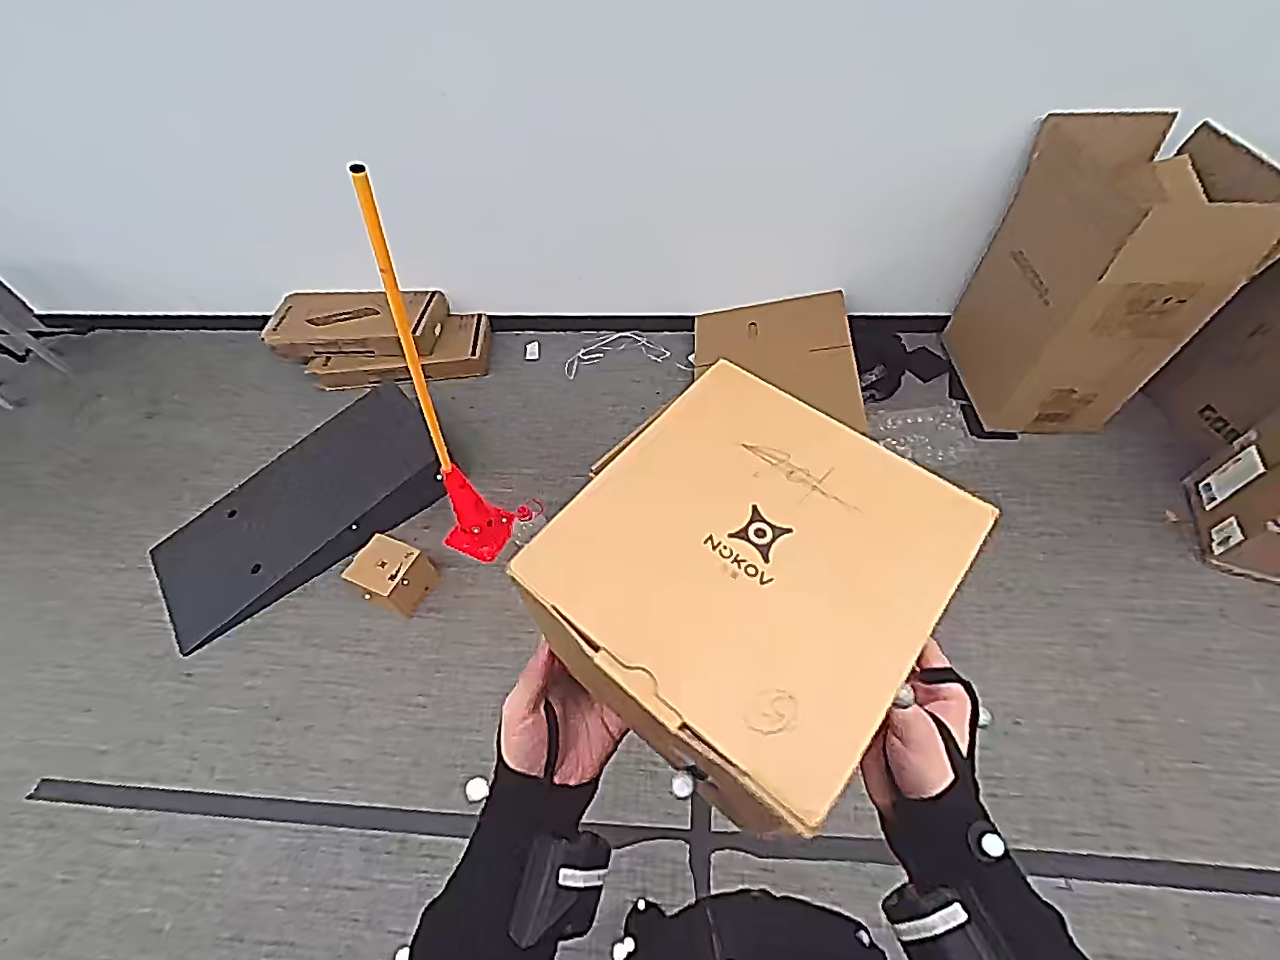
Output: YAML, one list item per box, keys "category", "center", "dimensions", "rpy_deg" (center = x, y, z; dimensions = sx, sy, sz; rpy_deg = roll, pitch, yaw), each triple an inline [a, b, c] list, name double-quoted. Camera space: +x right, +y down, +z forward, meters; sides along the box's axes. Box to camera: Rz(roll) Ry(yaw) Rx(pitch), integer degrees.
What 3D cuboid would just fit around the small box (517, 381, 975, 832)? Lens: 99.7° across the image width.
- category: "small box"
  center: [0.056, 0.081, 0.334]
  dimensions: [0.168, 0.176, 0.179]
  rpy_deg: [34, 63, 20]
